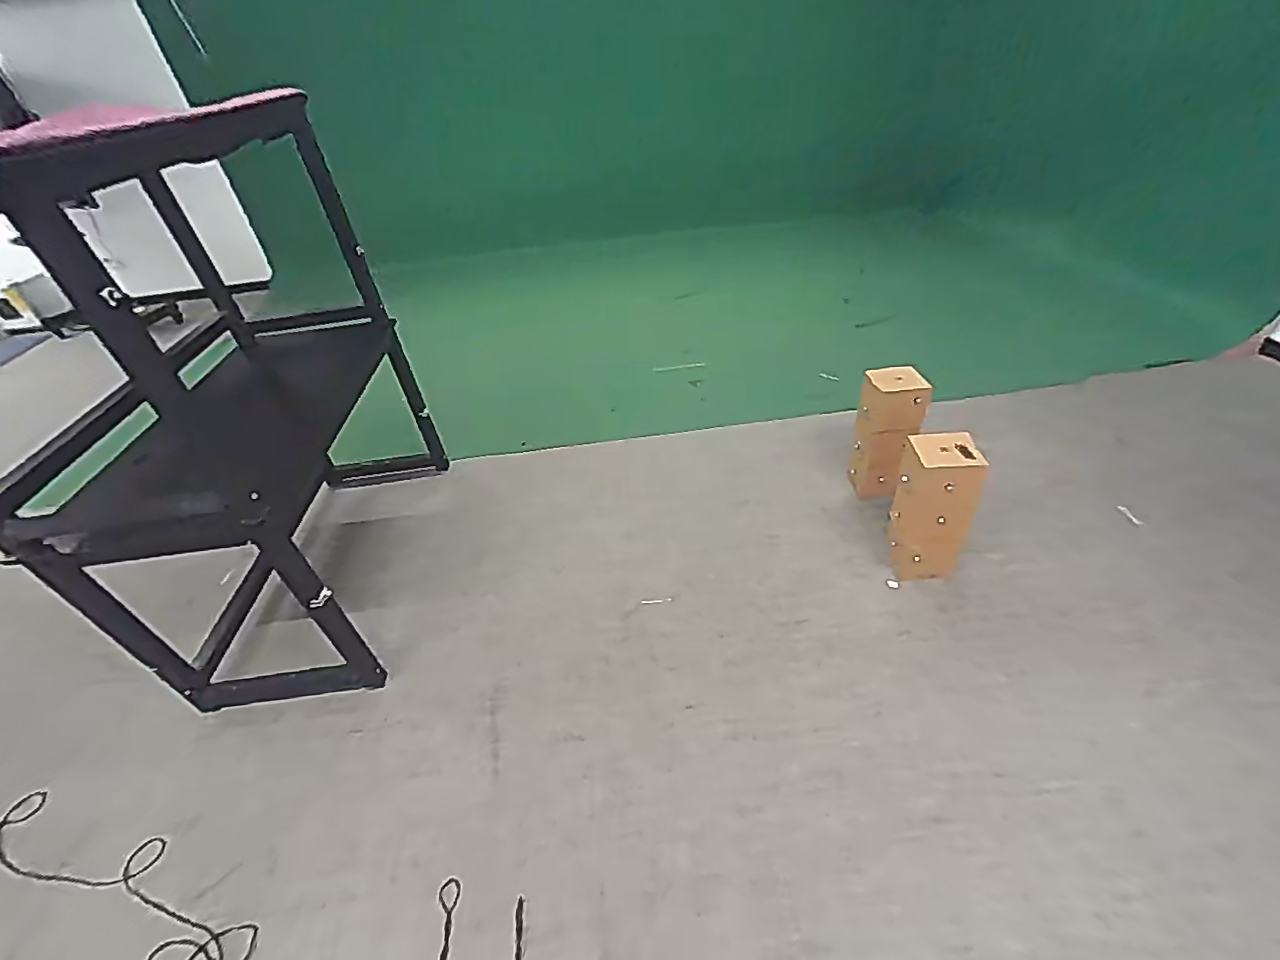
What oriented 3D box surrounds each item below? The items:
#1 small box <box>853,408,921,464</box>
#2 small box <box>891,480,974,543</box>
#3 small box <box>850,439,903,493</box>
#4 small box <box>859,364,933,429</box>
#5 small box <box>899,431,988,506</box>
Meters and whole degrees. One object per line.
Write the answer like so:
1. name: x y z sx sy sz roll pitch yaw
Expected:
1. small box: 0.943 -0.181 2.078 0.179 0.176 0.168 -7 39 1
2. small box: 0.942 0.091 1.759 0.179 0.176 0.168 -3 41 6
3. small box: 0.960 -0.060 2.185 0.179 0.176 0.168 -5 40 4
4. small box: 0.924 -0.304 1.969 0.179 0.176 0.168 -6 39 1
5. small box: 0.918 -0.032 1.654 0.179 0.176 0.168 -2 40 8
